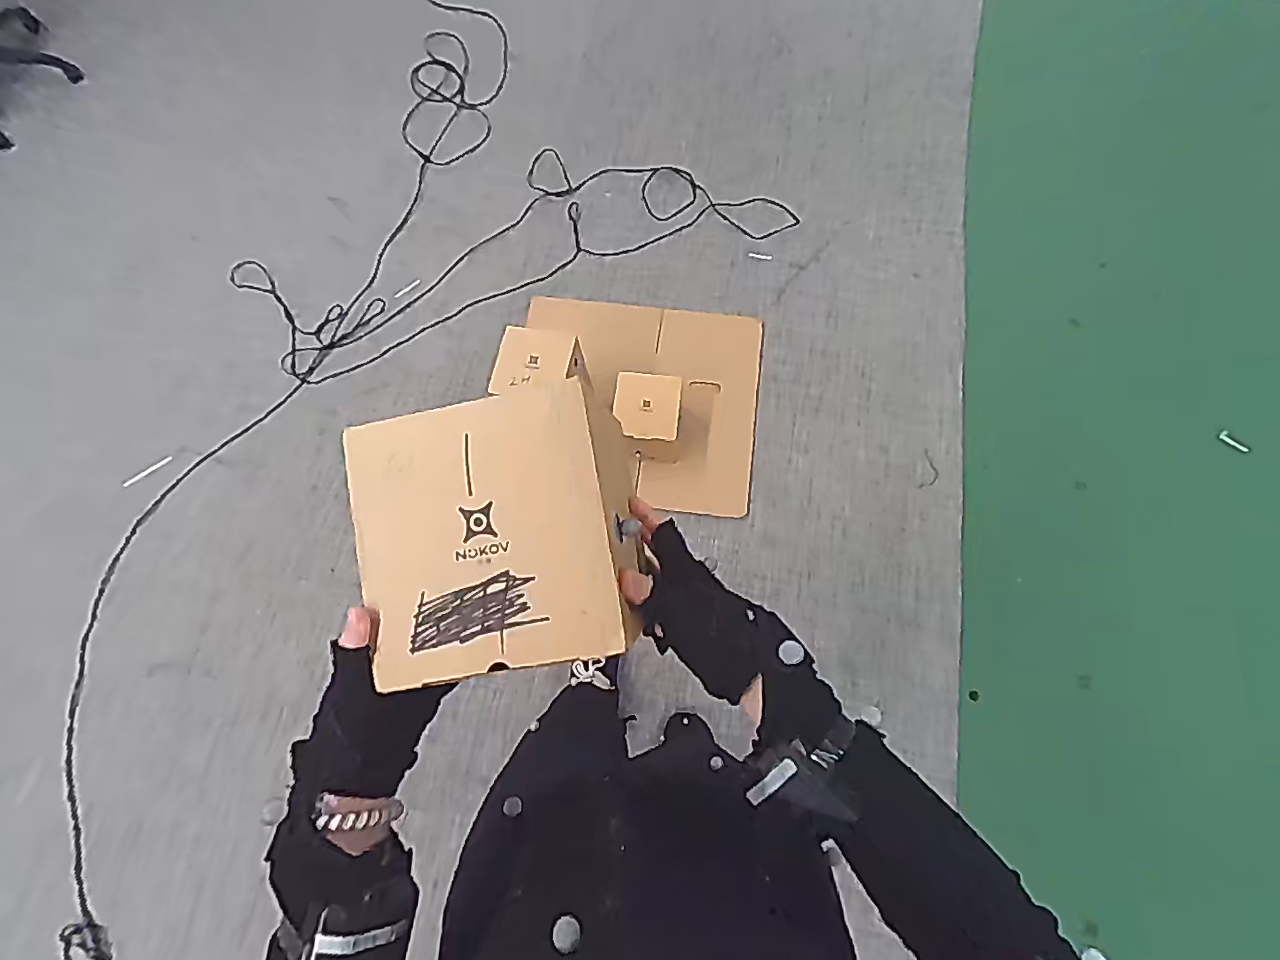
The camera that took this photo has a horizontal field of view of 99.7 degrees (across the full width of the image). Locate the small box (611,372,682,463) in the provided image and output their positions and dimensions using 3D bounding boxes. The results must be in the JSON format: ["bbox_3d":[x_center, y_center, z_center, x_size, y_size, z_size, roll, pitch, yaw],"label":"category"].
[{"bbox_3d":[0.017,-0.160,1.415,0.168,0.176,0.179,6,74,3],"label":"small box"}]

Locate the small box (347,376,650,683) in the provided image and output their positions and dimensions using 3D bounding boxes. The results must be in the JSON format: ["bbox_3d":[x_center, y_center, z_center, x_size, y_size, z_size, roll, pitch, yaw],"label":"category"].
[{"bbox_3d":[-0.091,0.037,0.423,0.168,0.176,0.179,-11,84,6],"label":"small box"}]

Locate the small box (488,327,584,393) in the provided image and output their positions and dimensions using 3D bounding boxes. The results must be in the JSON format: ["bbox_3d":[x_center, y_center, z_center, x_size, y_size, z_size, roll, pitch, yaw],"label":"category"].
[{"bbox_3d":[-0.235,-0.231,1.272,0.168,0.176,0.179,10,74,6],"label":"small box"}]
